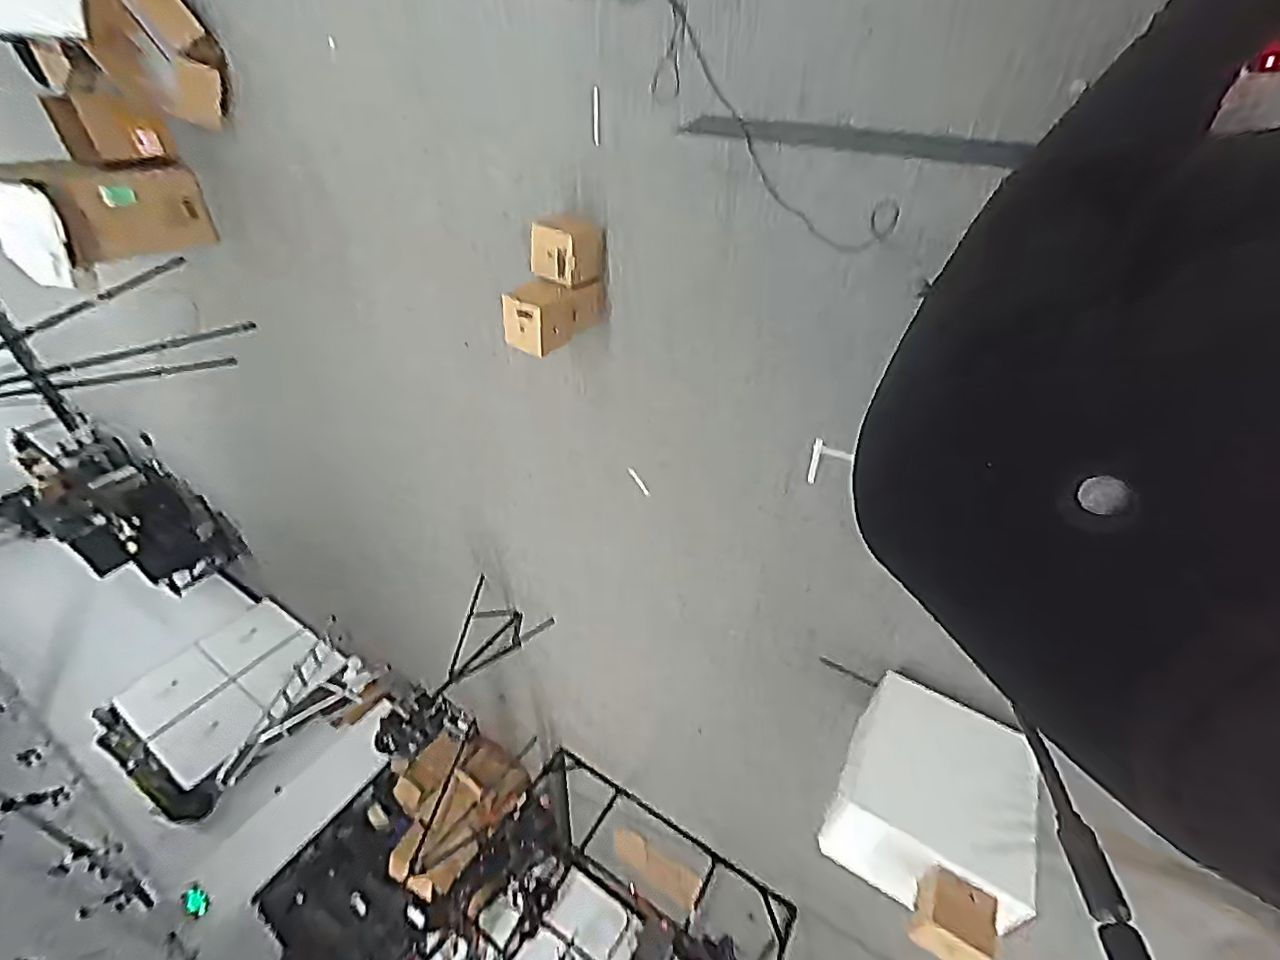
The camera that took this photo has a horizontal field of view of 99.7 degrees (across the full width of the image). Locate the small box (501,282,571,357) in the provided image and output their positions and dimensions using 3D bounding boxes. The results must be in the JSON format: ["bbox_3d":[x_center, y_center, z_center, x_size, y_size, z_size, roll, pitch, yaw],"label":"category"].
[{"bbox_3d":[-0.347,-0.549,1.830,0.168,0.176,0.179,27,135,21],"label":"small box"}]

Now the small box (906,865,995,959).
[{"bbox_3d":[0.900,1.265,1.562,0.168,0.176,0.179,24,133,22],"label":"small box"}]
